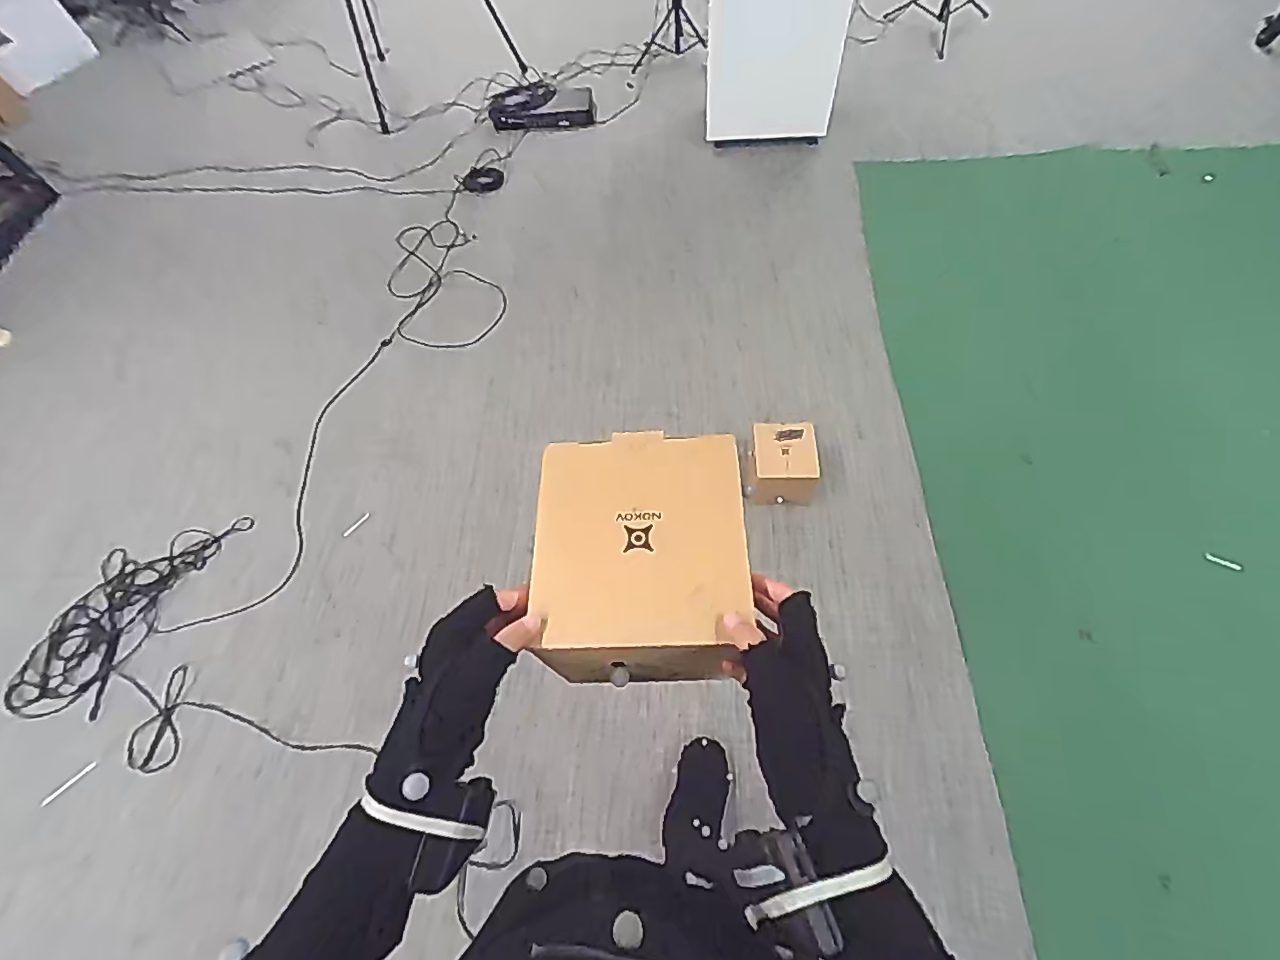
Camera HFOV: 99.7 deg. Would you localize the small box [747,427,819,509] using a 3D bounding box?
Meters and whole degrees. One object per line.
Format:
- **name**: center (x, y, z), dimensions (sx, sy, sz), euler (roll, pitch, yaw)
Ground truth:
- **small box**: center (0.396, -0.033, 1.526), dimensions (0.168, 0.176, 0.179), euler (0, 62, 5)
